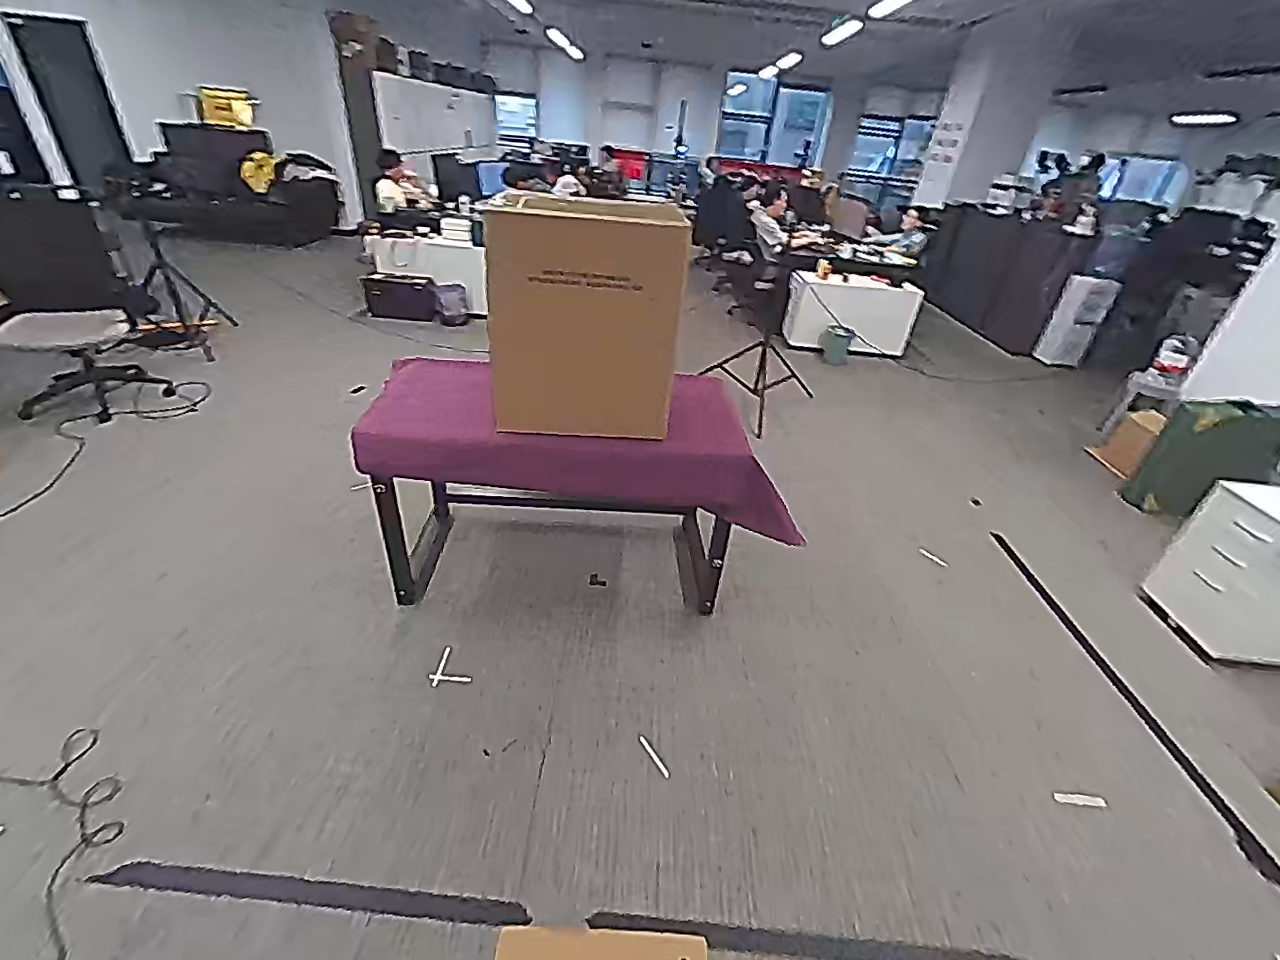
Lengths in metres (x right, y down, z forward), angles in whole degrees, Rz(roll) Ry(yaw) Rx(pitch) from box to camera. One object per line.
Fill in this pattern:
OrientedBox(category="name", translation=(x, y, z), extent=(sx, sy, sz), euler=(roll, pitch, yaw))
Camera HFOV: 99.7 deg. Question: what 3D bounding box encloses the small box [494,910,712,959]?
OrientedBox(category="small box", translation=(-0.035, 0.476, 0.428), extent=(0.179, 0.176, 0.168), euler=(5, 33, -1))
